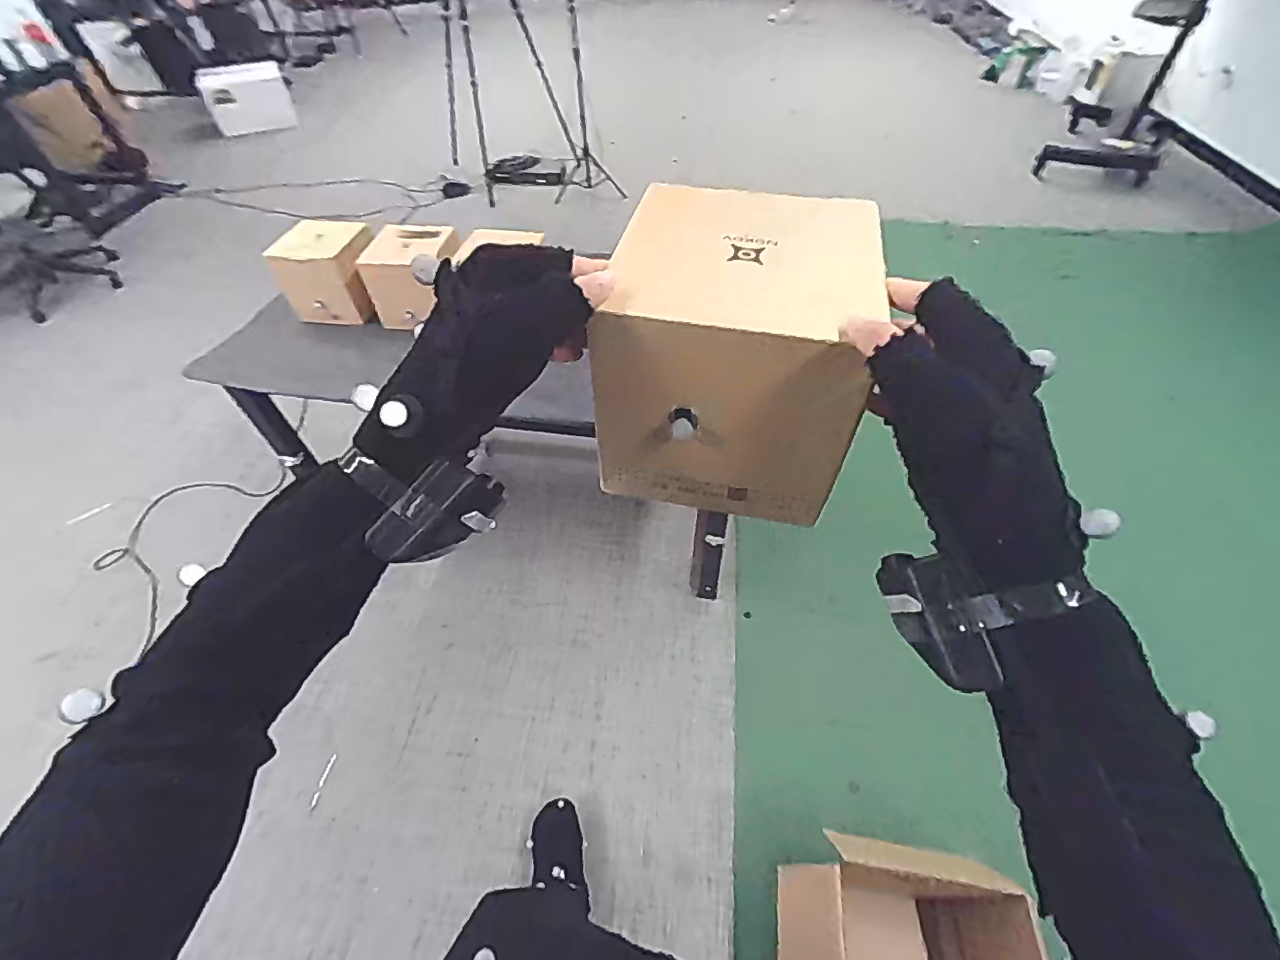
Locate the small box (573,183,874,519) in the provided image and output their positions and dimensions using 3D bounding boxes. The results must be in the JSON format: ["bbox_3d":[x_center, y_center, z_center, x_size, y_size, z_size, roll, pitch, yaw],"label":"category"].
[{"bbox_3d":[0.061,-0.093,0.401,0.168,0.176,0.179,9,50,8],"label":"small box"}]

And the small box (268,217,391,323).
[{"bbox_3d":[-0.719,-0.498,1.280,0.168,0.176,0.179,5,51,6],"label":"small box"}]
